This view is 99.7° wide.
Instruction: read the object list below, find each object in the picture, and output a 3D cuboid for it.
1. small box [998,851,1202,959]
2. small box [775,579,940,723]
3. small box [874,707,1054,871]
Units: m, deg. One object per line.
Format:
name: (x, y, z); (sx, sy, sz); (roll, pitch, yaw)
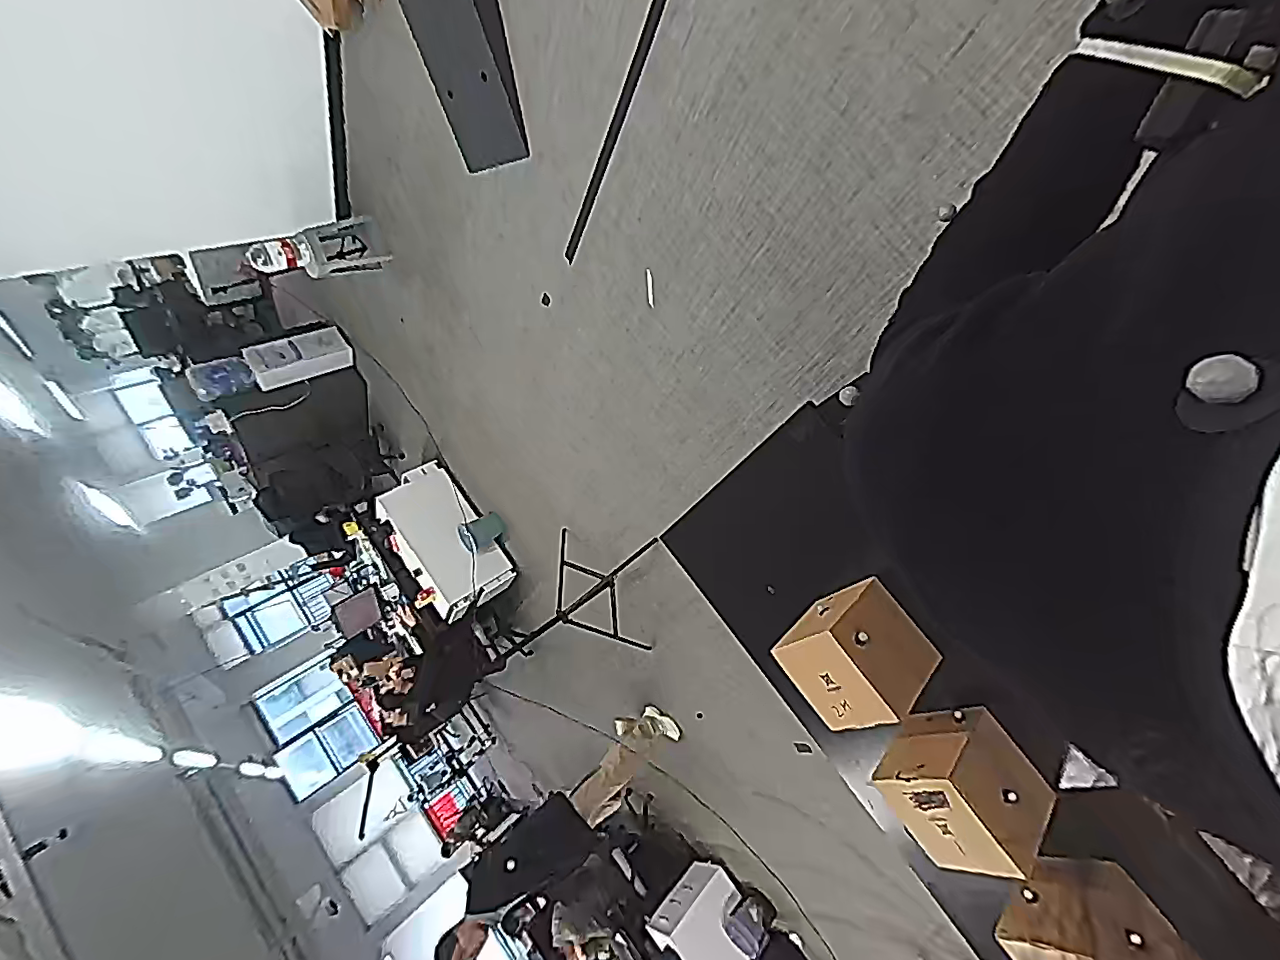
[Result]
small box: (0.729, 0.734, 0.863); (0.179, 0.176, 0.168); (51, 146, 11)
small box: (0.384, 0.297, 0.960); (0.179, 0.176, 0.168); (52, 146, 10)
small box: (0.547, 0.508, 0.917); (0.179, 0.176, 0.168); (52, 145, 8)
